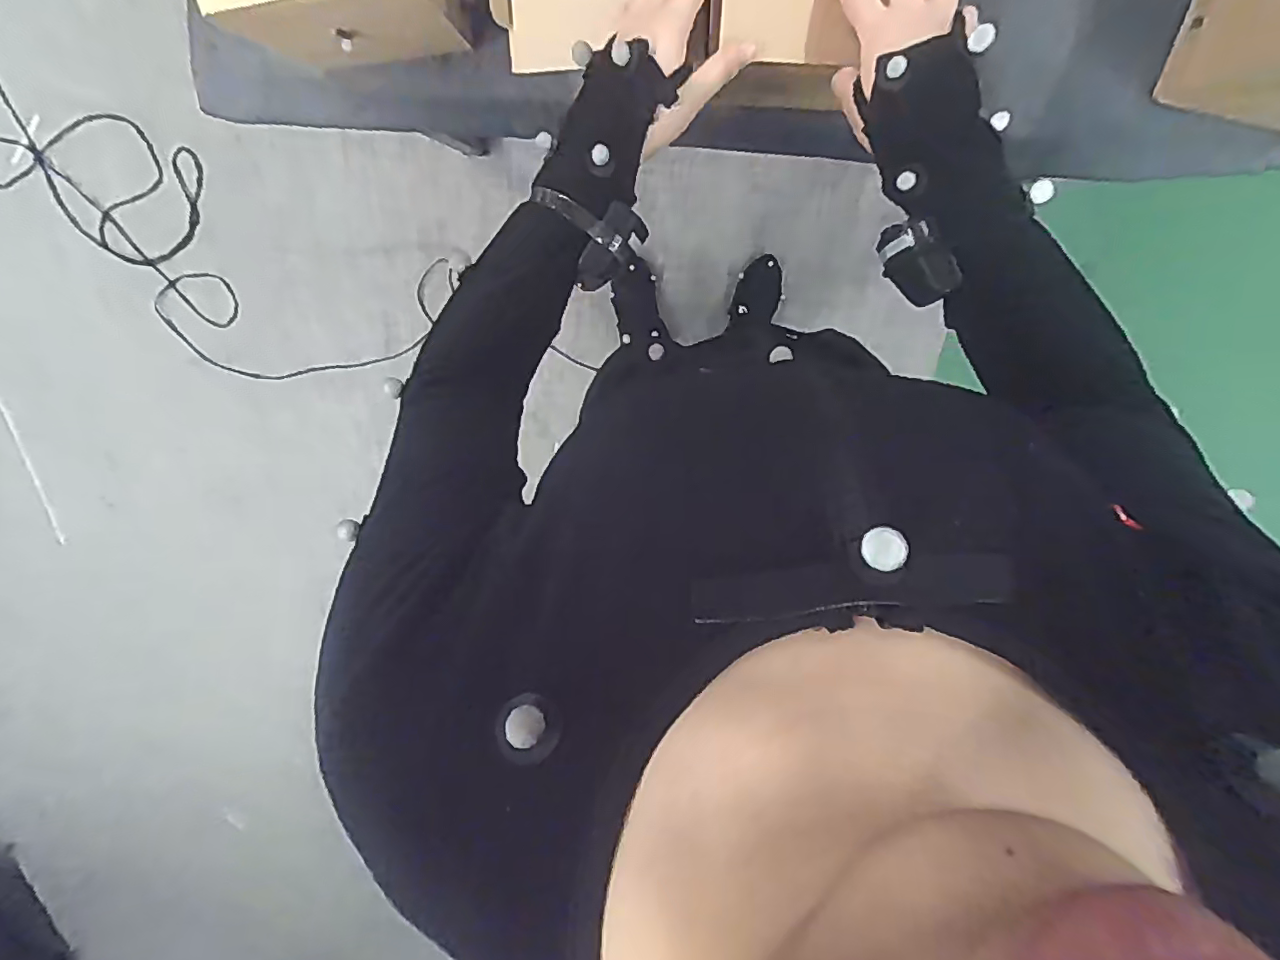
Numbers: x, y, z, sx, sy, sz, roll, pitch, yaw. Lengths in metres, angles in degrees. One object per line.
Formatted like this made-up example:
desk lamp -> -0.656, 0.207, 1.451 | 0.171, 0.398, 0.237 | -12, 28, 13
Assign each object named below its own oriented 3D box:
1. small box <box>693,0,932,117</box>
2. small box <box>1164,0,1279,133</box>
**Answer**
small box -> 0.140, -0.431, 0.475 | 0.179, 0.176, 0.168 | 0, 115, 1
small box -> 0.631, -0.424, 0.466 | 0.179, 0.176, 0.168 | 10, 109, -2
